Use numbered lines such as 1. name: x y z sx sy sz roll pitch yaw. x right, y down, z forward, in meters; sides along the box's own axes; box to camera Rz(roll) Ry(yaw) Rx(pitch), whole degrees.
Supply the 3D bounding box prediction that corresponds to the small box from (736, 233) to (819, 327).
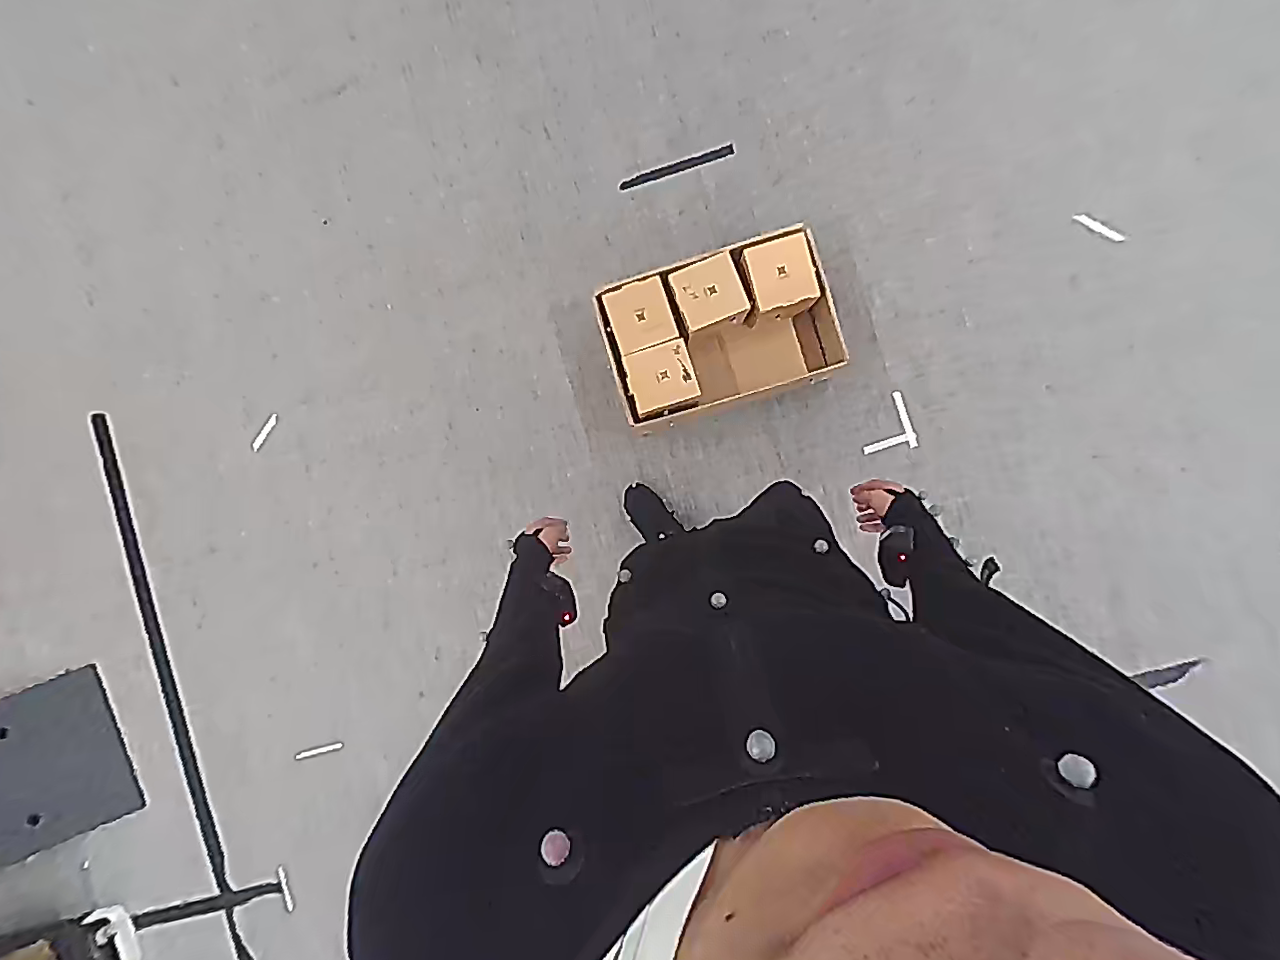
1. small box: 0.374 -0.548 1.505 0.168 0.176 0.179 -16 92 4
